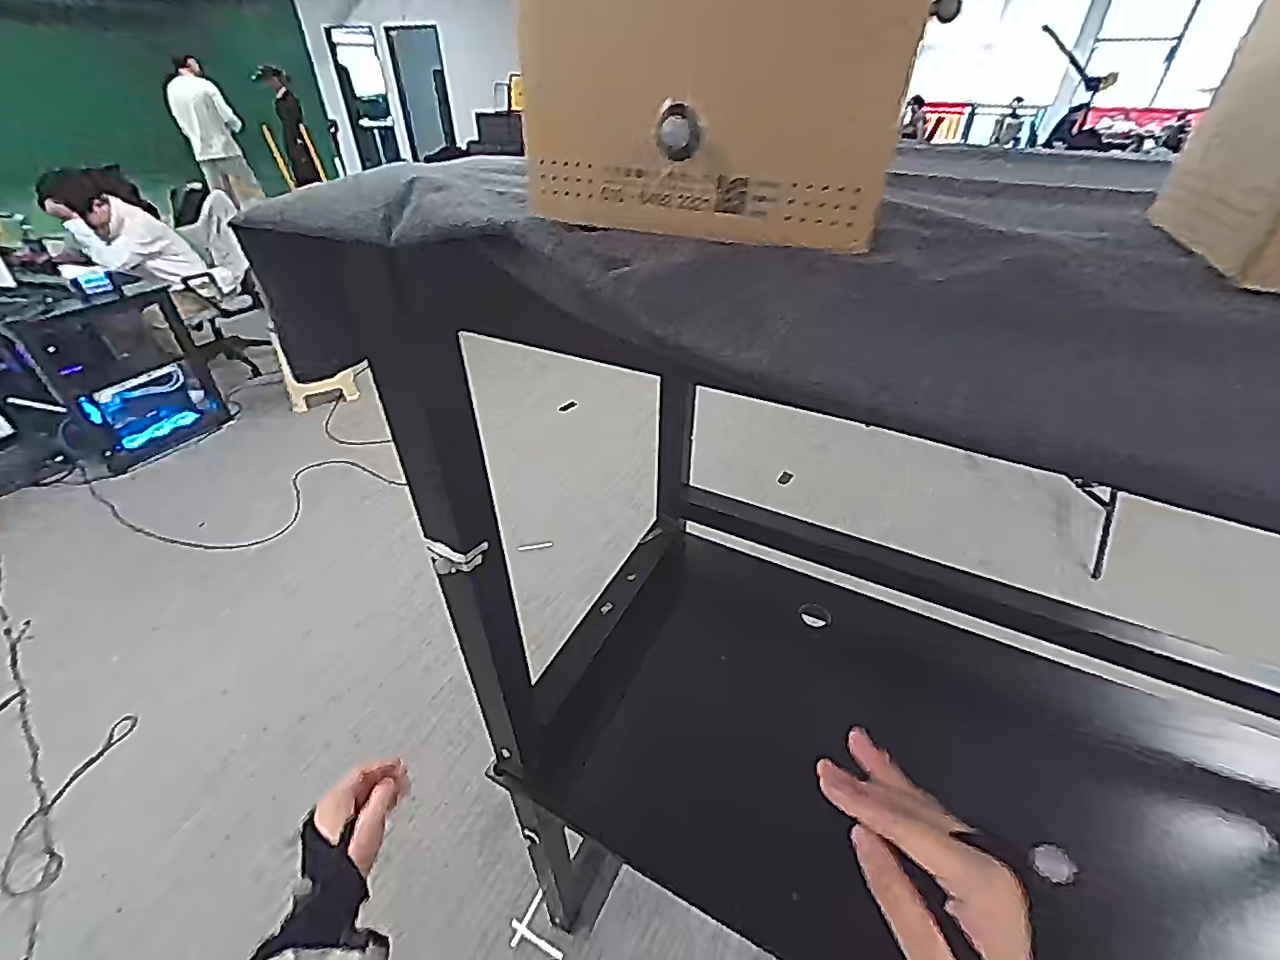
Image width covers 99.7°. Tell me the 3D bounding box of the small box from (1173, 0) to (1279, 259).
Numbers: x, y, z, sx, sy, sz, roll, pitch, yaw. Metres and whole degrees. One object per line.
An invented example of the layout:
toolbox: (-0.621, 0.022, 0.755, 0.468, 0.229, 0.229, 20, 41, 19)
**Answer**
small box: (0.336, -0.162, 0.181, 0.168, 0.176, 0.179, 18, 38, 23)
